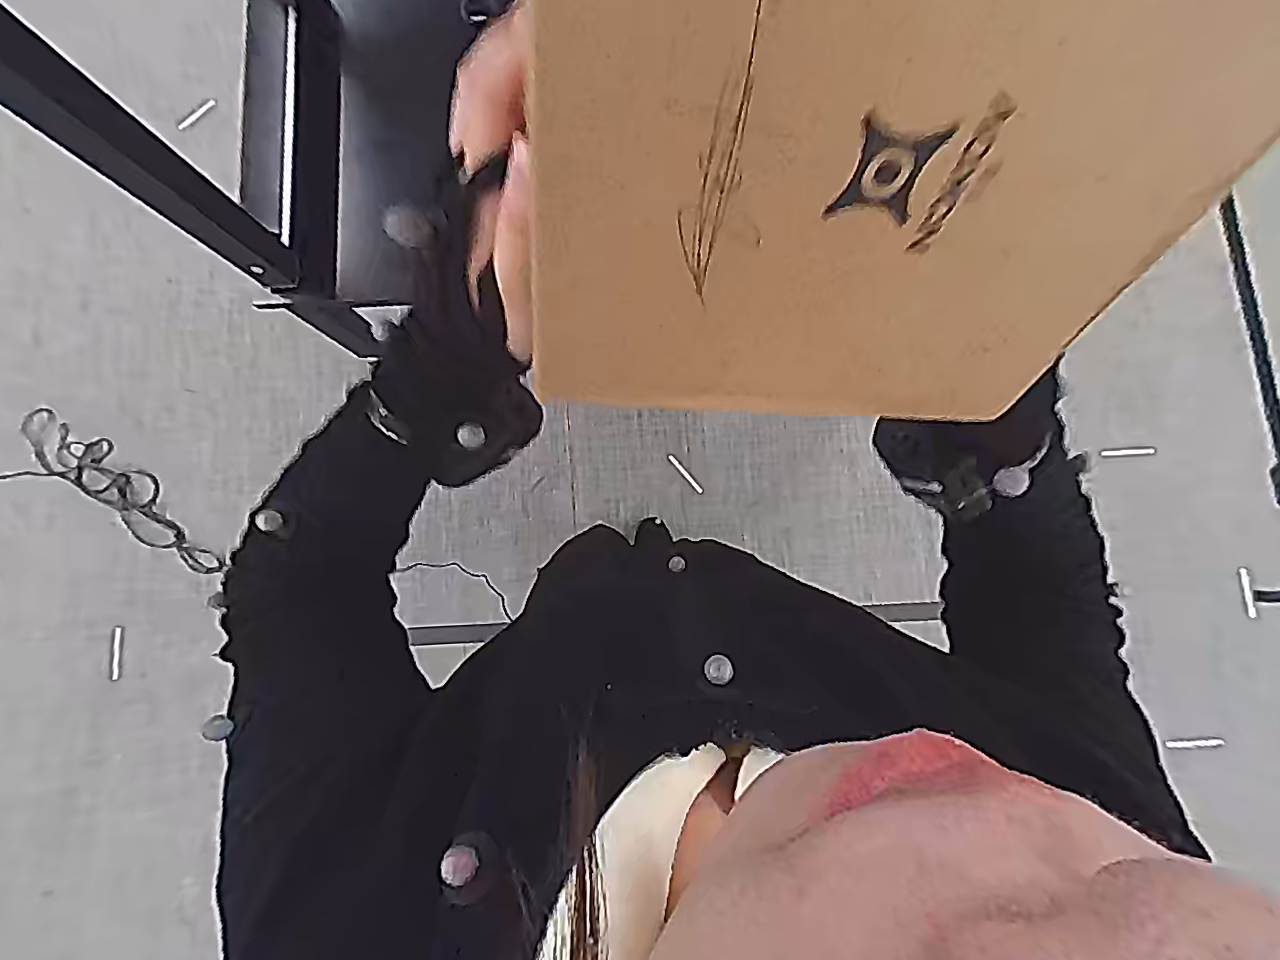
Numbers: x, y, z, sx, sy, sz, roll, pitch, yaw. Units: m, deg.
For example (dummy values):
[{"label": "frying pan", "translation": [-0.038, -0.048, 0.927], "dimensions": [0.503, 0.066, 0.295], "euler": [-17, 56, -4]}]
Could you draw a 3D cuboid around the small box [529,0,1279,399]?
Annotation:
[{"label": "small box", "translation": [0.060, -0.143, 0.156], "dimensions": [0.179, 0.168, 0.176], "euler": [2, 56, -9]}]
